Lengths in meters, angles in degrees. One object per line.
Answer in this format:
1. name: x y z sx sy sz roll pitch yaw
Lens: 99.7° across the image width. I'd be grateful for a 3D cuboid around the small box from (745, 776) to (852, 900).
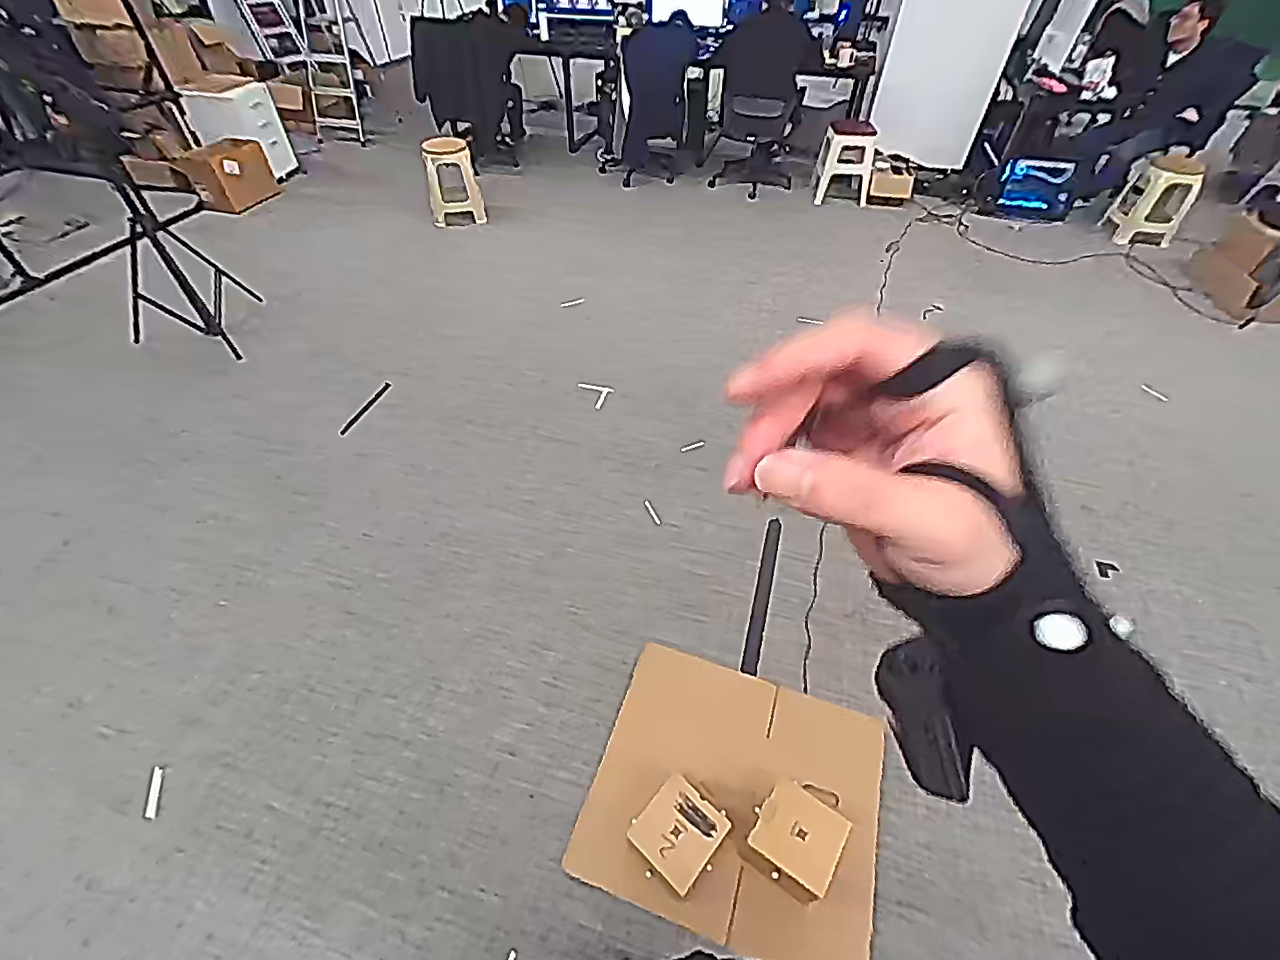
1. small box: 0.358 0.828 1.245 0.179 0.176 0.168 26 54 25
